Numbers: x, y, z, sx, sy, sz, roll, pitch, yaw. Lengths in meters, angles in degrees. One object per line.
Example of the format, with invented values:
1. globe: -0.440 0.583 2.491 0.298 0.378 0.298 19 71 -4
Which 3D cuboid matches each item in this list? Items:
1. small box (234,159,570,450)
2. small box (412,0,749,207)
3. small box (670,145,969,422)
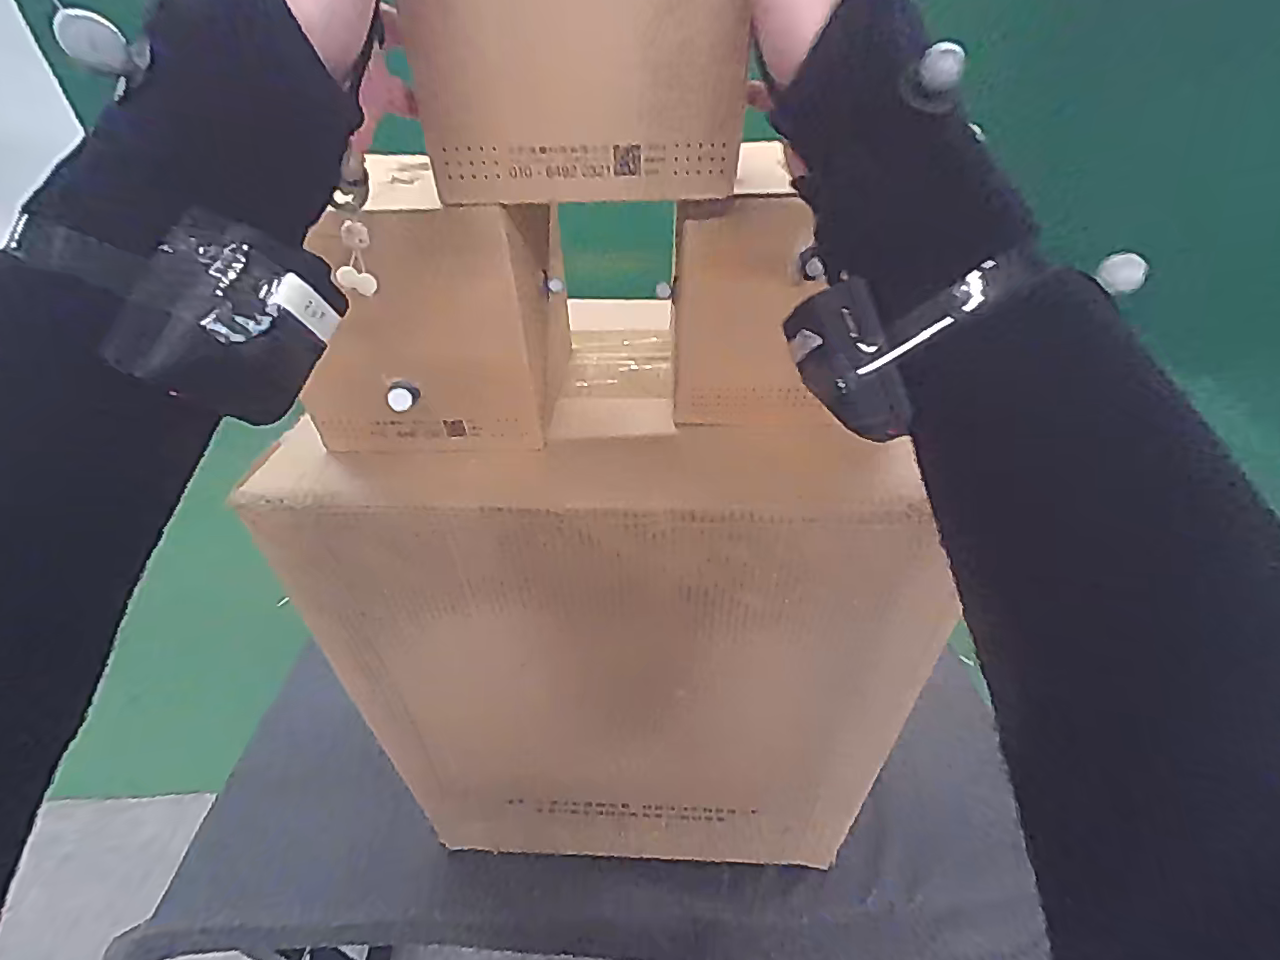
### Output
1. small box: -0.151 -0.141 0.422 0.168 0.176 0.179 0 40 2
2. small box: -0.035 -0.273 0.320 0.168 0.176 0.179 -3 39 -3
3. small box: 0.114 -0.159 0.436 0.179 0.176 0.168 2 40 0
